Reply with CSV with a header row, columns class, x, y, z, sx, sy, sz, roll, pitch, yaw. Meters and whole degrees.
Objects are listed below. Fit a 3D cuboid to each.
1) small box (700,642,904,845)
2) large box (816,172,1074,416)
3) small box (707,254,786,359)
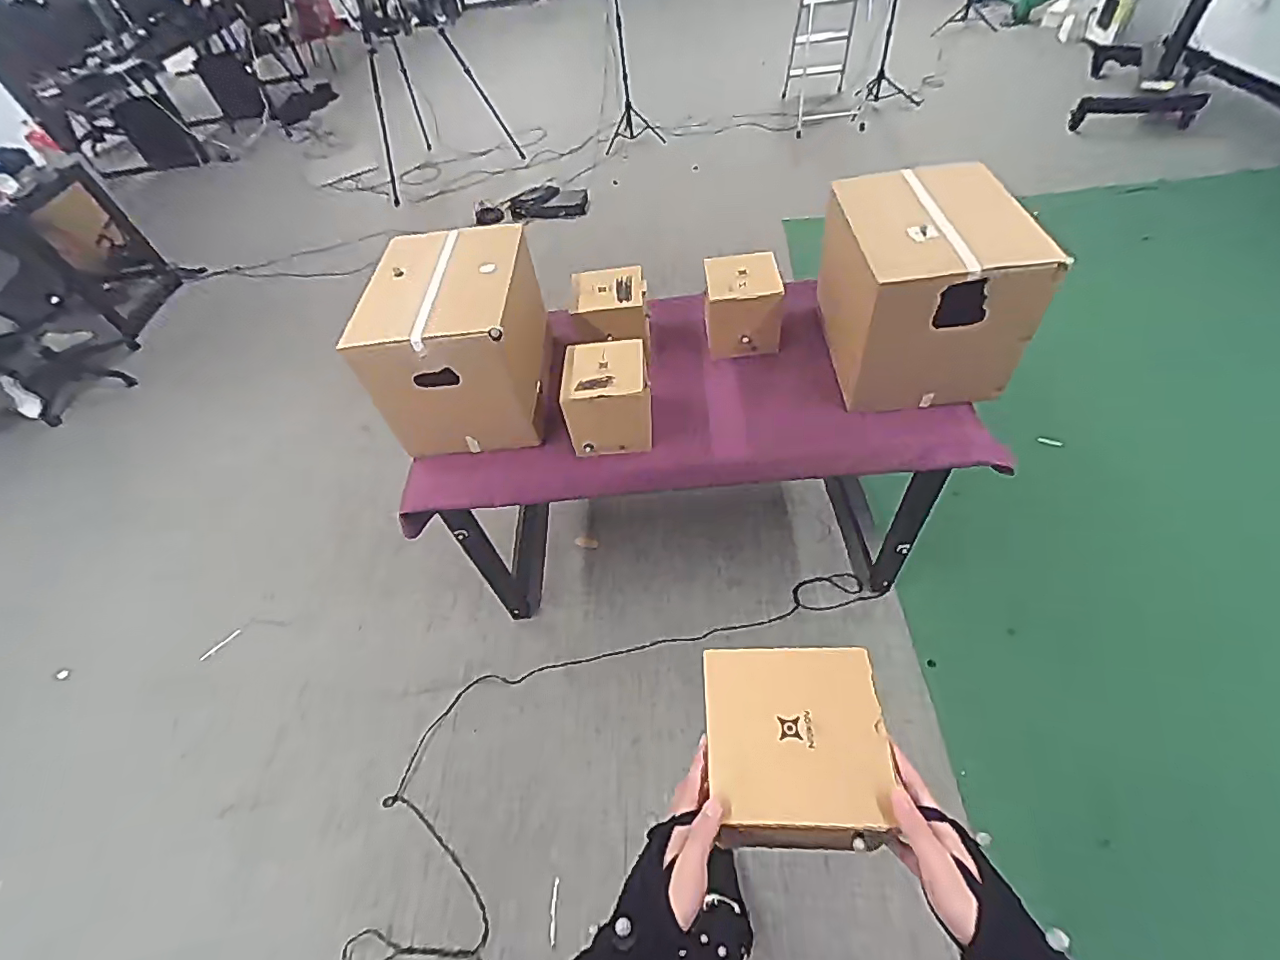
class,x,y,z,sx,sy,sz,roll,pitch,yaw
small box,0.160,0.291,0.592,0.179,0.176,0.168,-3,50,7
large box,0.585,-0.391,1.143,0.320,0.320,0.408,-4,52,7
small box,0.248,-0.413,1.298,0.168,0.176,0.179,-4,52,6
